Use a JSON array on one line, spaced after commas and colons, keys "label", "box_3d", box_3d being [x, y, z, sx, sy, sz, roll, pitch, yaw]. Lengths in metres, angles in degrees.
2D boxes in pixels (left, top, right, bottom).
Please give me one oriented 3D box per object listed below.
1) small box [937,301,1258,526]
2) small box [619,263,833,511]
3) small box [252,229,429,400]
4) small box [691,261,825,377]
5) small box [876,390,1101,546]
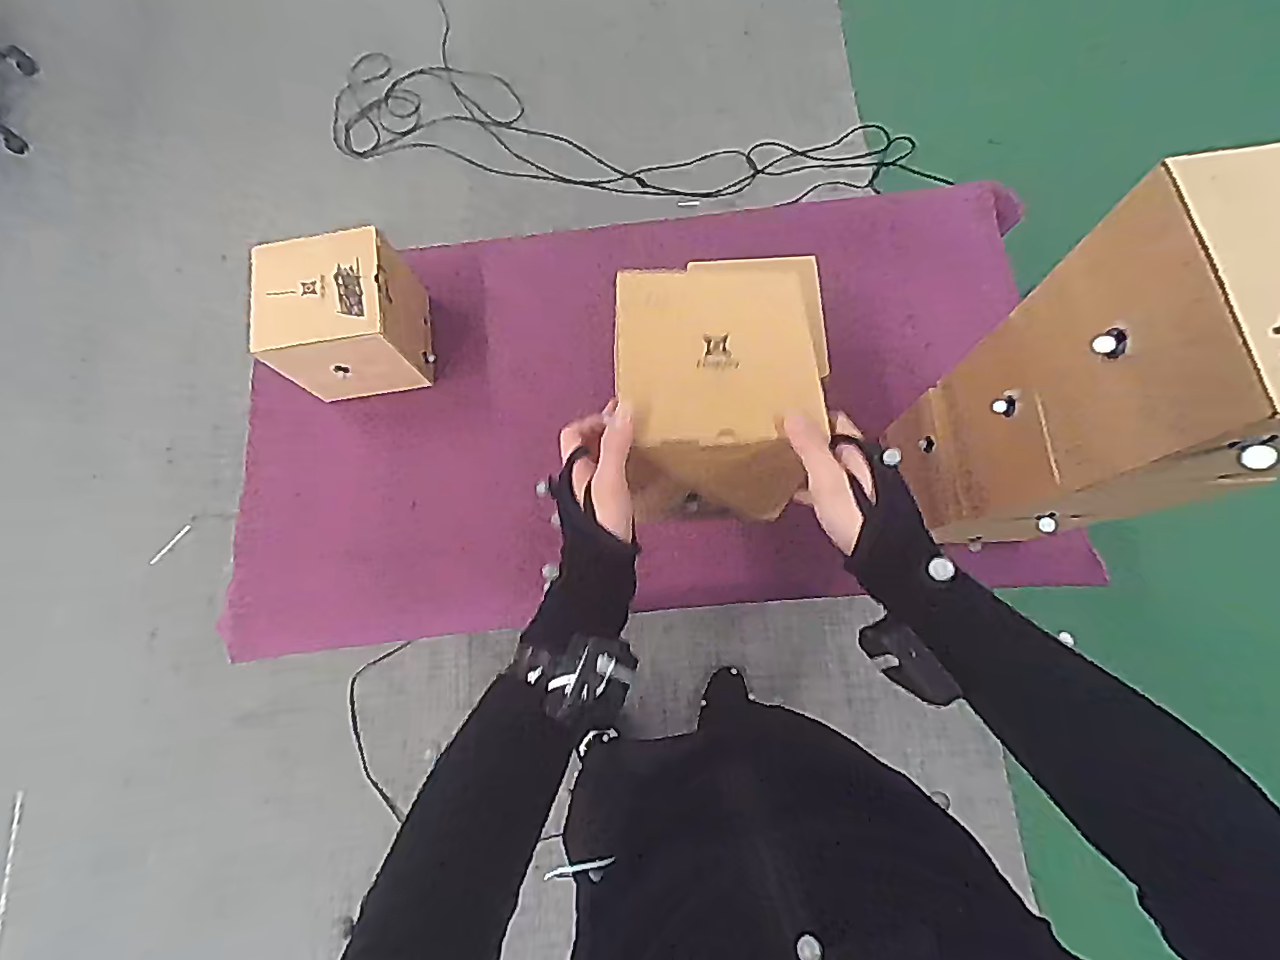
[{"label": "small box", "box_3d": [0.426, -0.055, 0.543, 0.168, 0.176, 0.179, -2, 75, 4]}, {"label": "small box", "box_3d": [0.064, -0.081, 0.523, 0.168, 0.176, 0.179, -1, 67, -3]}, {"label": "small box", "box_3d": [-0.424, -0.233, 0.795, 0.179, 0.176, 0.168, -9, 76, 1]}, {"label": "small box", "box_3d": [0.147, -0.179, 0.758, 0.168, 0.176, 0.179, -1, 76, 3]}, {"label": "small box", "box_3d": [0.432, -0.009, 0.700, 0.179, 0.176, 0.168, -2, 74, 2]}]
